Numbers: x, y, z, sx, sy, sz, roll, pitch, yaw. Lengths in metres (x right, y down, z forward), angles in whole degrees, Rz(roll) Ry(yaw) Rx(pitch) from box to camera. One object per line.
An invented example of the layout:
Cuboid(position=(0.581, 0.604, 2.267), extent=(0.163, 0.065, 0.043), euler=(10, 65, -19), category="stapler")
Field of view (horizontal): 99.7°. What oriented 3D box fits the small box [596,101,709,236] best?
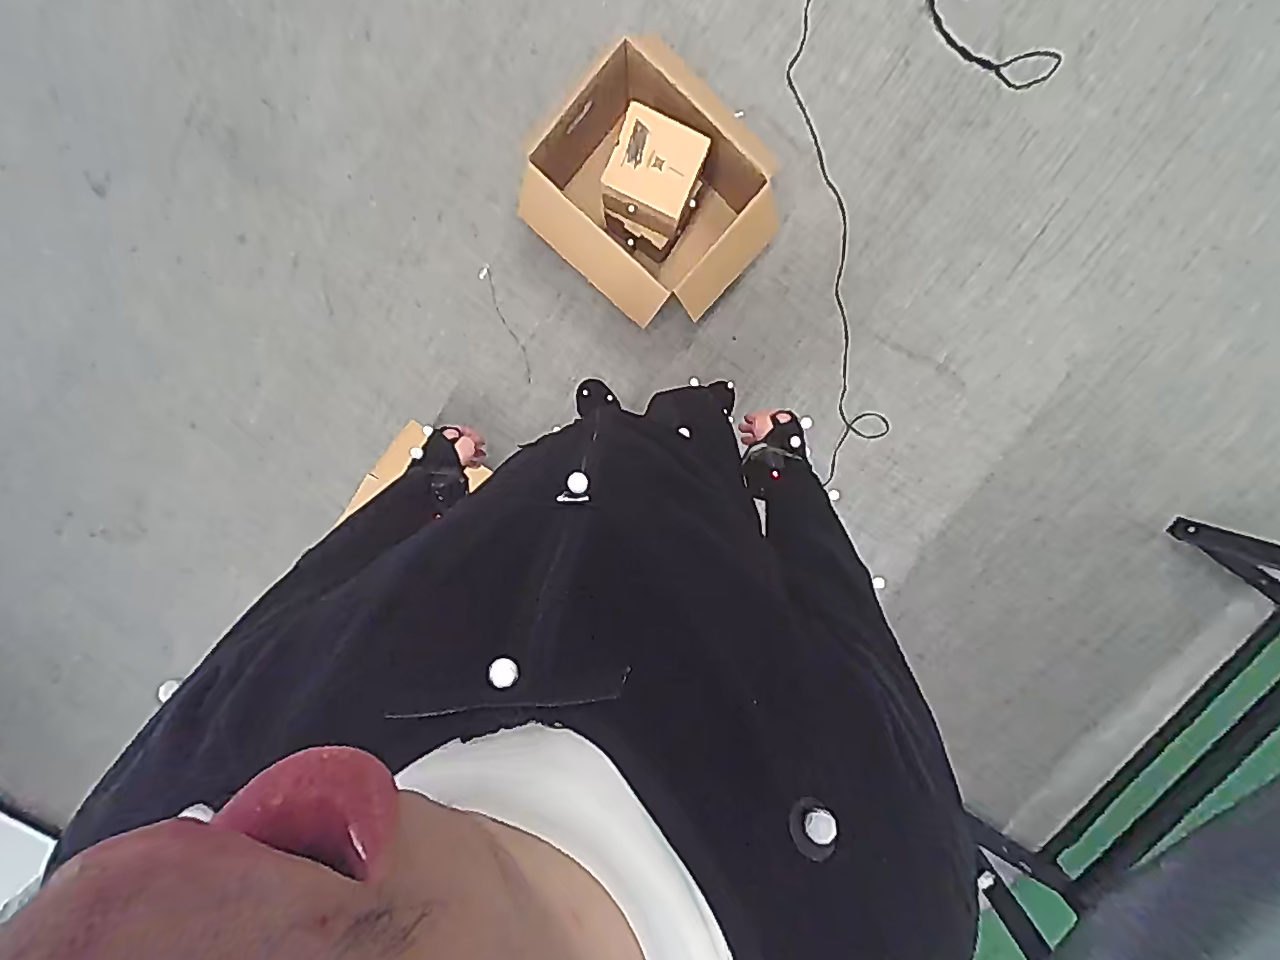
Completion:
Cuboid(position=(0.025, -0.648, 1.152), extent=(0.179, 0.176, 0.168), euler=(27, 101, -5), category="small box")
